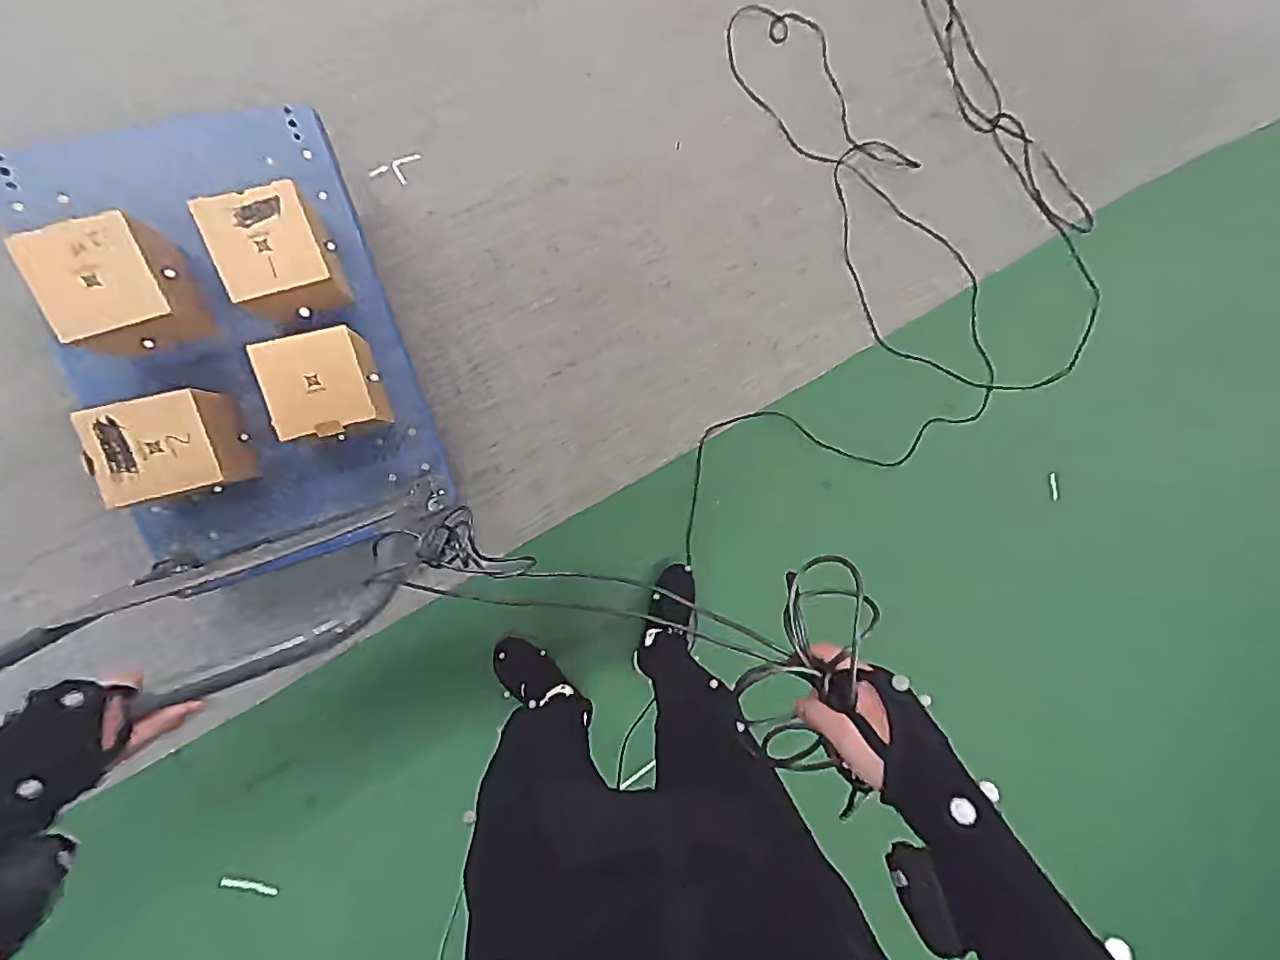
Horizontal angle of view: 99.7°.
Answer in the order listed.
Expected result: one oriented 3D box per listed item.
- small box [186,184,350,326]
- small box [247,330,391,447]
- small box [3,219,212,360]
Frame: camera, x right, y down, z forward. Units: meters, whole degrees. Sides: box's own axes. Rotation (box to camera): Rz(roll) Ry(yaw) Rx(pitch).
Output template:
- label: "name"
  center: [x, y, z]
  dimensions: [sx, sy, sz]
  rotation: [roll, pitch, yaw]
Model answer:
- label: "small box"
  center: [-0.669, -0.405, 0.998]
  dimensions: [0.168, 0.176, 0.179]
  rotation: [-22, 100, -11]
- label: "small box"
  center: [-0.601, -0.169, 1.037]
  dimensions: [0.168, 0.176, 0.179]
  rotation: [-18, 100, -13]
- label: "small box"
  center: [-0.904, -0.319, 0.943]
  dimensions: [0.168, 0.176, 0.179]
  rotation: [-24, 100, -13]
